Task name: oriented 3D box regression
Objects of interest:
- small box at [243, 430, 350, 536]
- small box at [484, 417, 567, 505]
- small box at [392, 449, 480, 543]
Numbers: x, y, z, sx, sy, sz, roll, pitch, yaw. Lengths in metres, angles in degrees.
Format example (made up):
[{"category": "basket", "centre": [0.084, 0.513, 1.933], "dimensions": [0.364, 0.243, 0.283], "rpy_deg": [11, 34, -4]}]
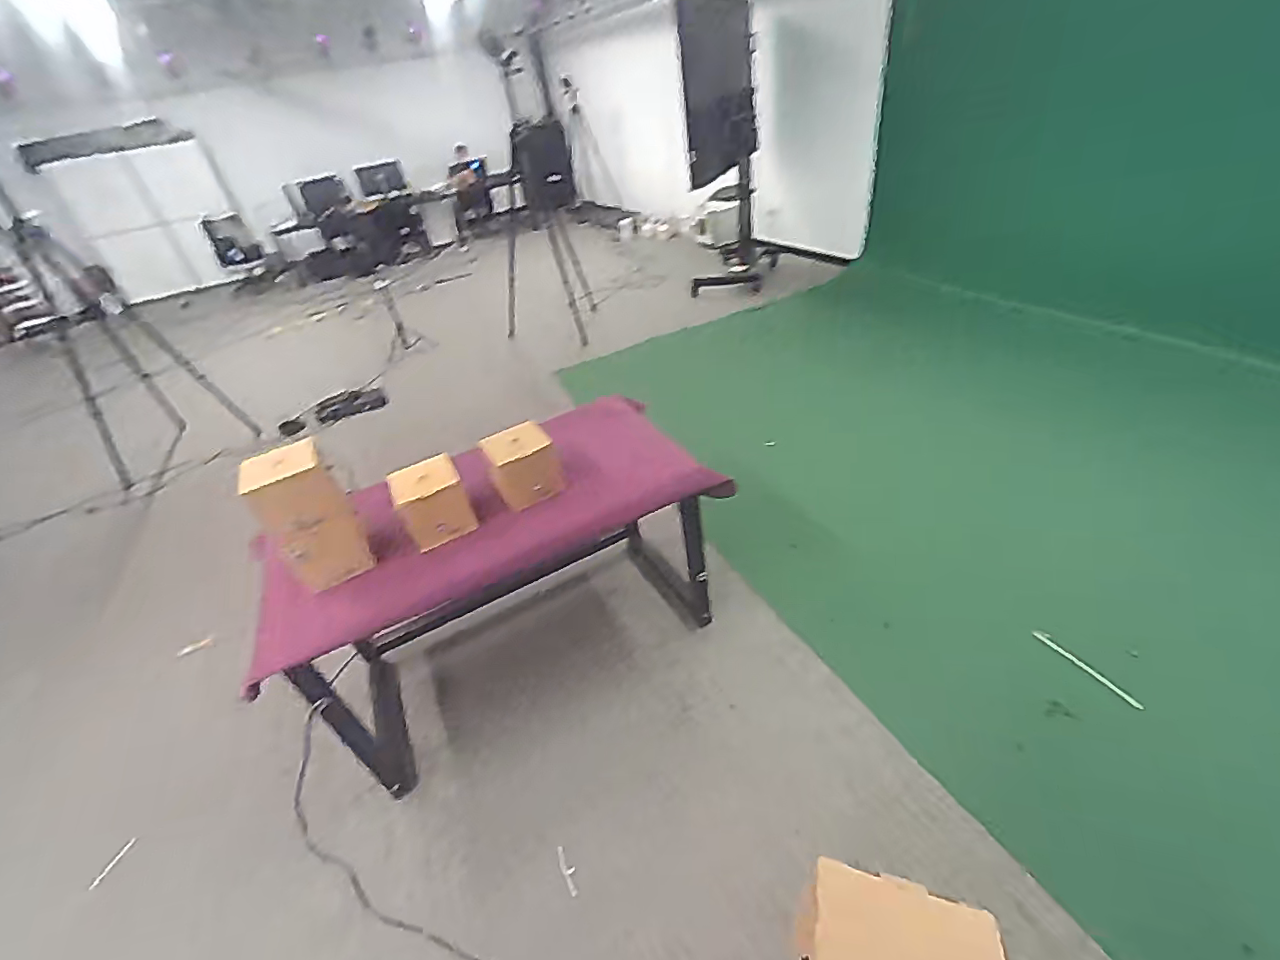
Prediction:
[{"category": "small box", "centre": [-0.838, 0.007, 1.329], "dimensions": [0.168, 0.176, 0.179], "rpy_deg": [-25, 39, -20]}, {"category": "small box", "centre": [-0.334, -0.056, 1.584], "dimensions": [0.168, 0.176, 0.179], "rpy_deg": [-25, 40, -20]}, {"category": "small box", "centre": [-0.565, 0.044, 1.502], "dimensions": [0.168, 0.176, 0.179], "rpy_deg": [-24, 40, -19]}]
